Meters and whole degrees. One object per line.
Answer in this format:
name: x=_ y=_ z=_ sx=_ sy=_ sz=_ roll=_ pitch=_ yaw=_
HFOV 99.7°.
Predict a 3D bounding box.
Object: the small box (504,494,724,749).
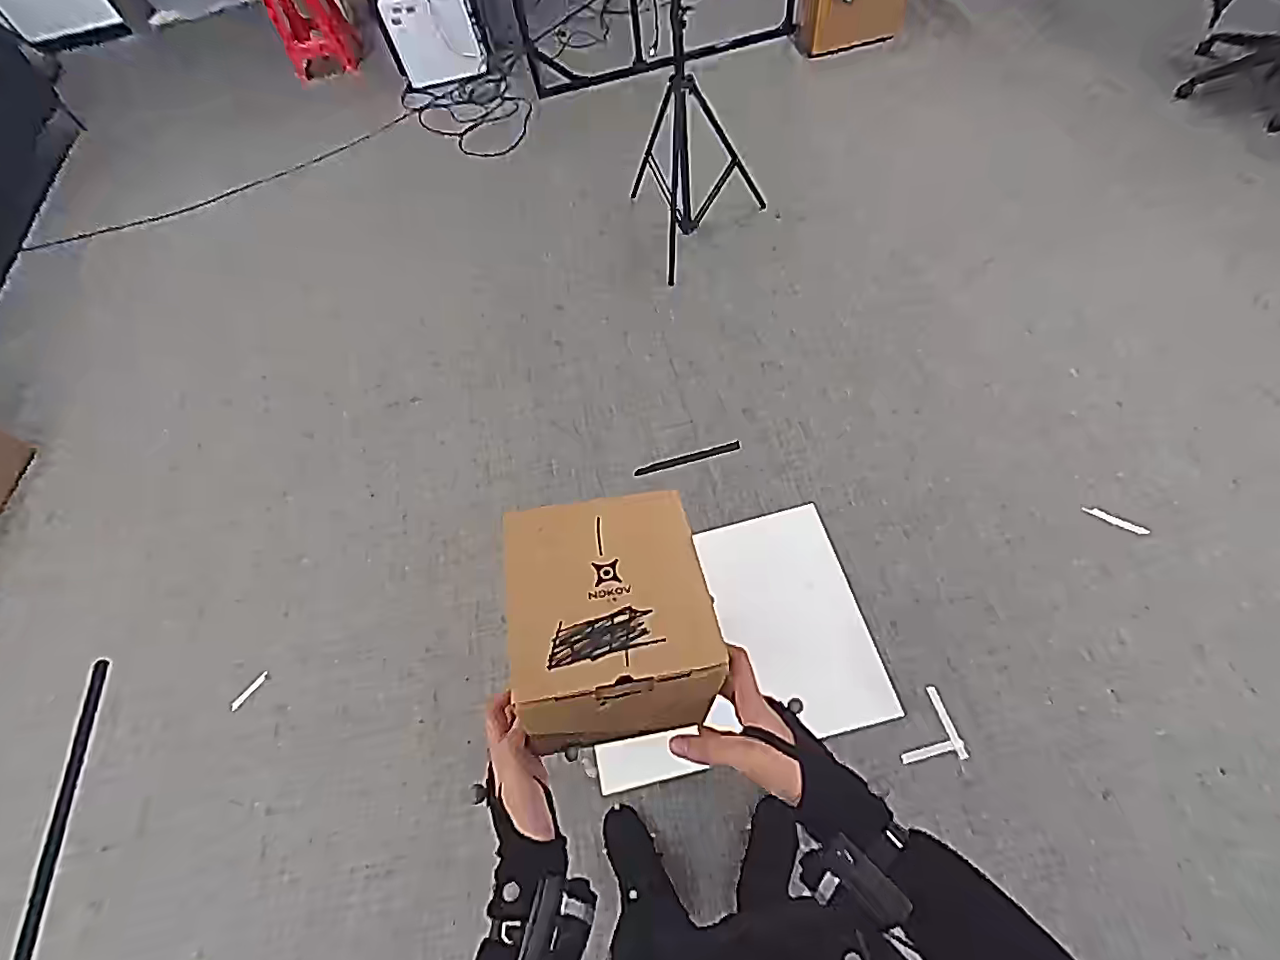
small box: x=-0.030 y=0.139 z=0.512 sx=0.168 sy=0.176 sz=0.179 roll=-8 pitch=52 yaw=-8
